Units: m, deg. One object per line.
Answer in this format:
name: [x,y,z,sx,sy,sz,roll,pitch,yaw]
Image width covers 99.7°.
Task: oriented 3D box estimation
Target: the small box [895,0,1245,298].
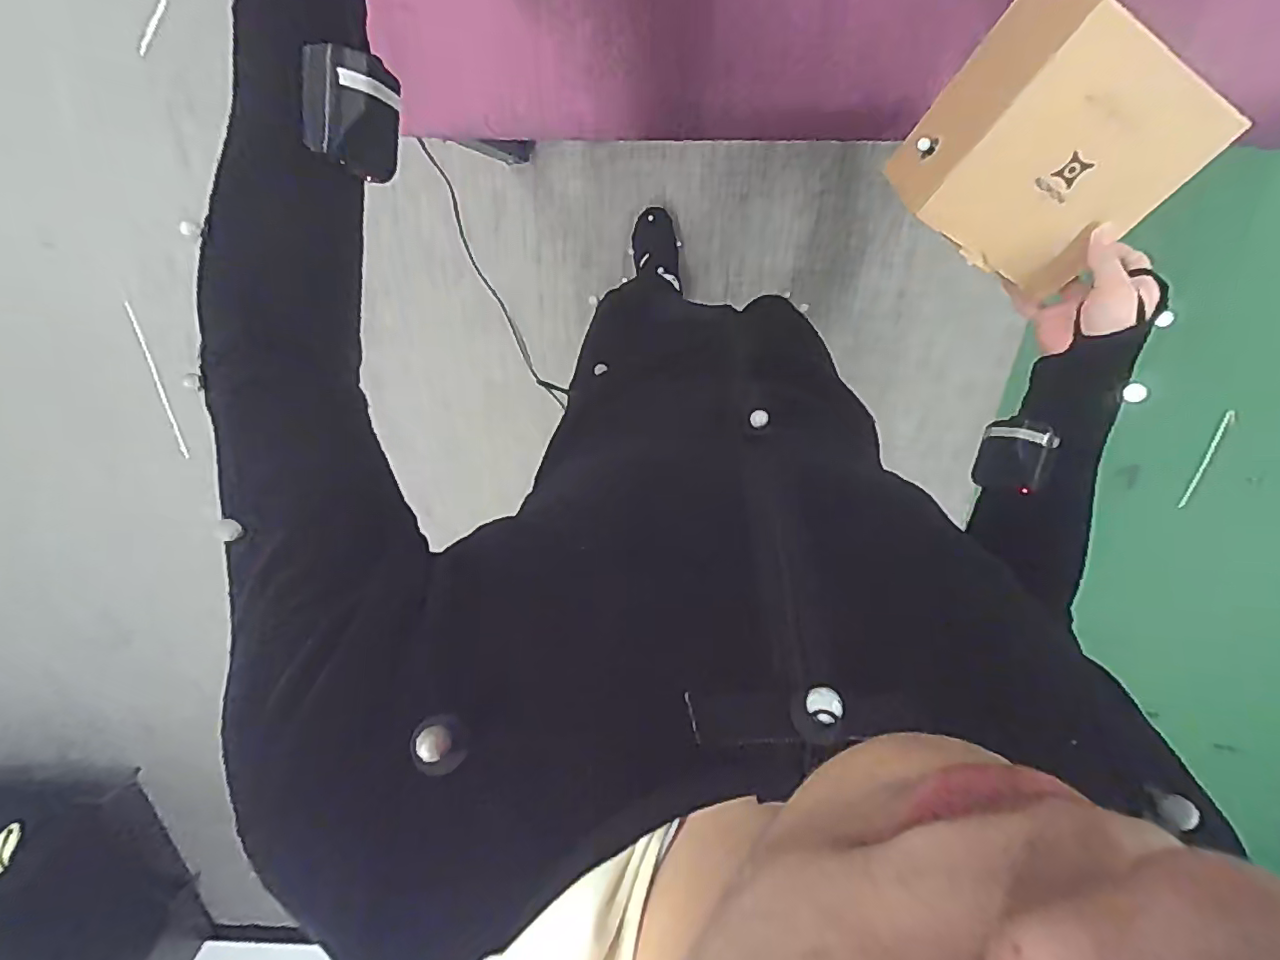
small box: [0.369,-0.315,0.510,0.168,0.176,0.179,27,132,-12]
